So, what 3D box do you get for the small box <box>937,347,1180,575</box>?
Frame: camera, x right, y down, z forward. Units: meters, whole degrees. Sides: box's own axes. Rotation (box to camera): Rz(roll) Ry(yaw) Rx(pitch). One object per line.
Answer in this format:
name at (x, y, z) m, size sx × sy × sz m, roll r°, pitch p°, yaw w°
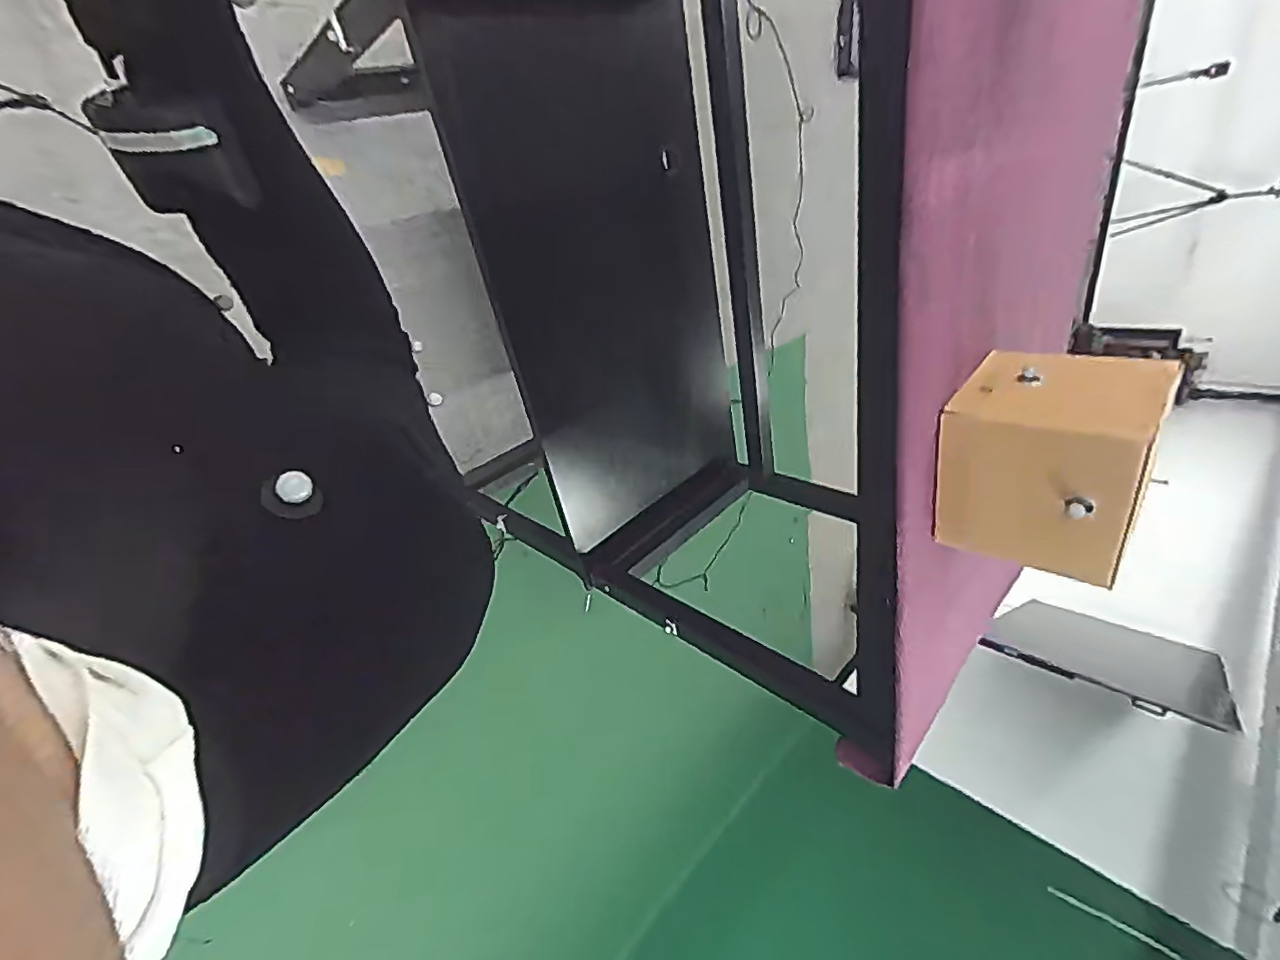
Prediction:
small box at (0.441, -0.033, 0.589) m, size 0.168 × 0.176 × 0.179 m, roll -38°, pitch 126°, yaw -32°
